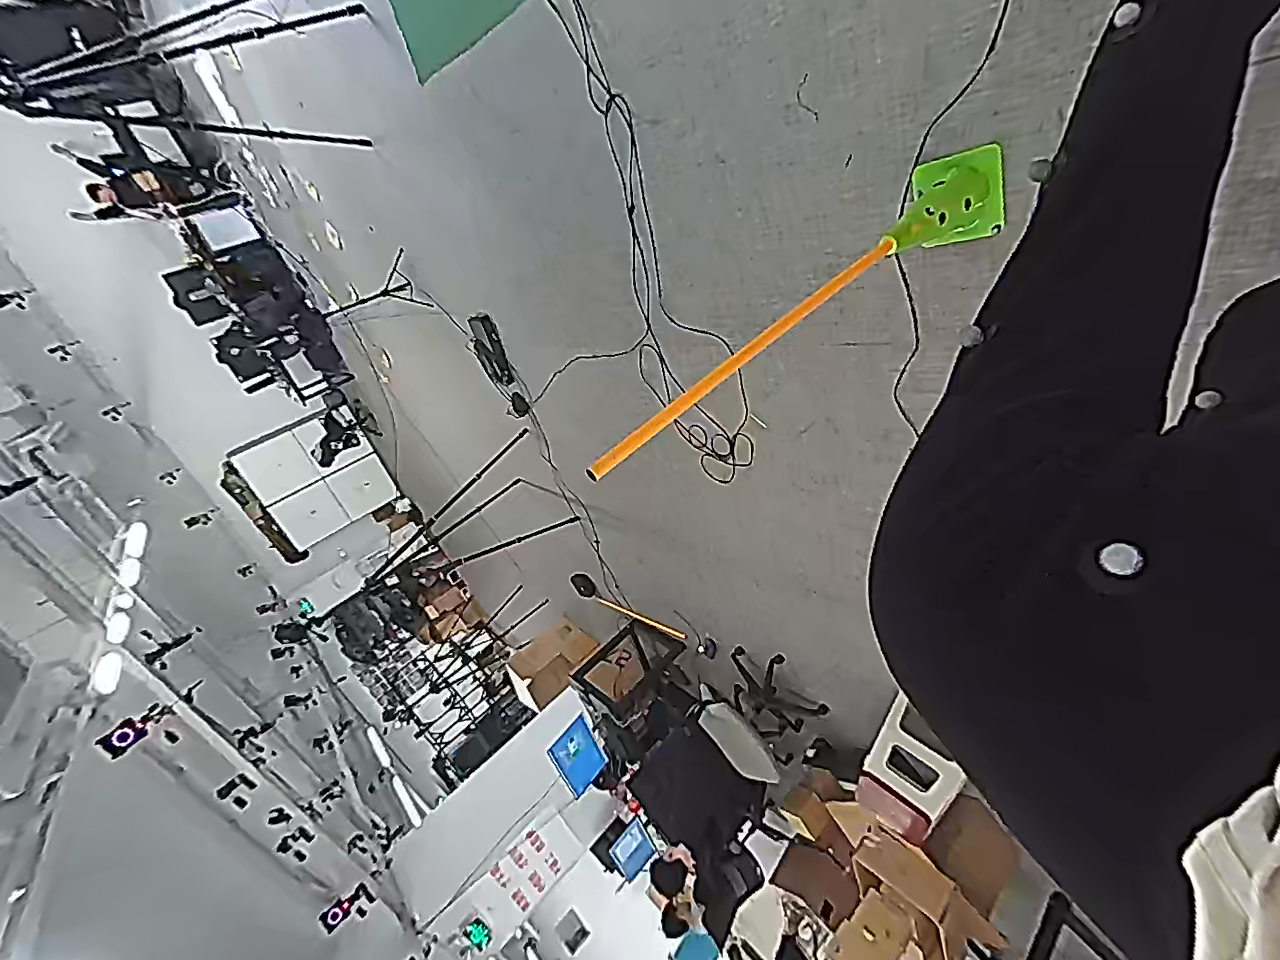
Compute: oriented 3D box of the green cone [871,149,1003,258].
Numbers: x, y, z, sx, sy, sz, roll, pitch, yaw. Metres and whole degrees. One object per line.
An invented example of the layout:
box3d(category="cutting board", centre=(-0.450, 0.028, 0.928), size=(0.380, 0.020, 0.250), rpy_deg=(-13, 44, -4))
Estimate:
box3d(category="green cone", centre=(0.657, -0.600, 1.259), size=(0.202, 0.368, 0.200), rpy_deg=(14, 132, 52))
